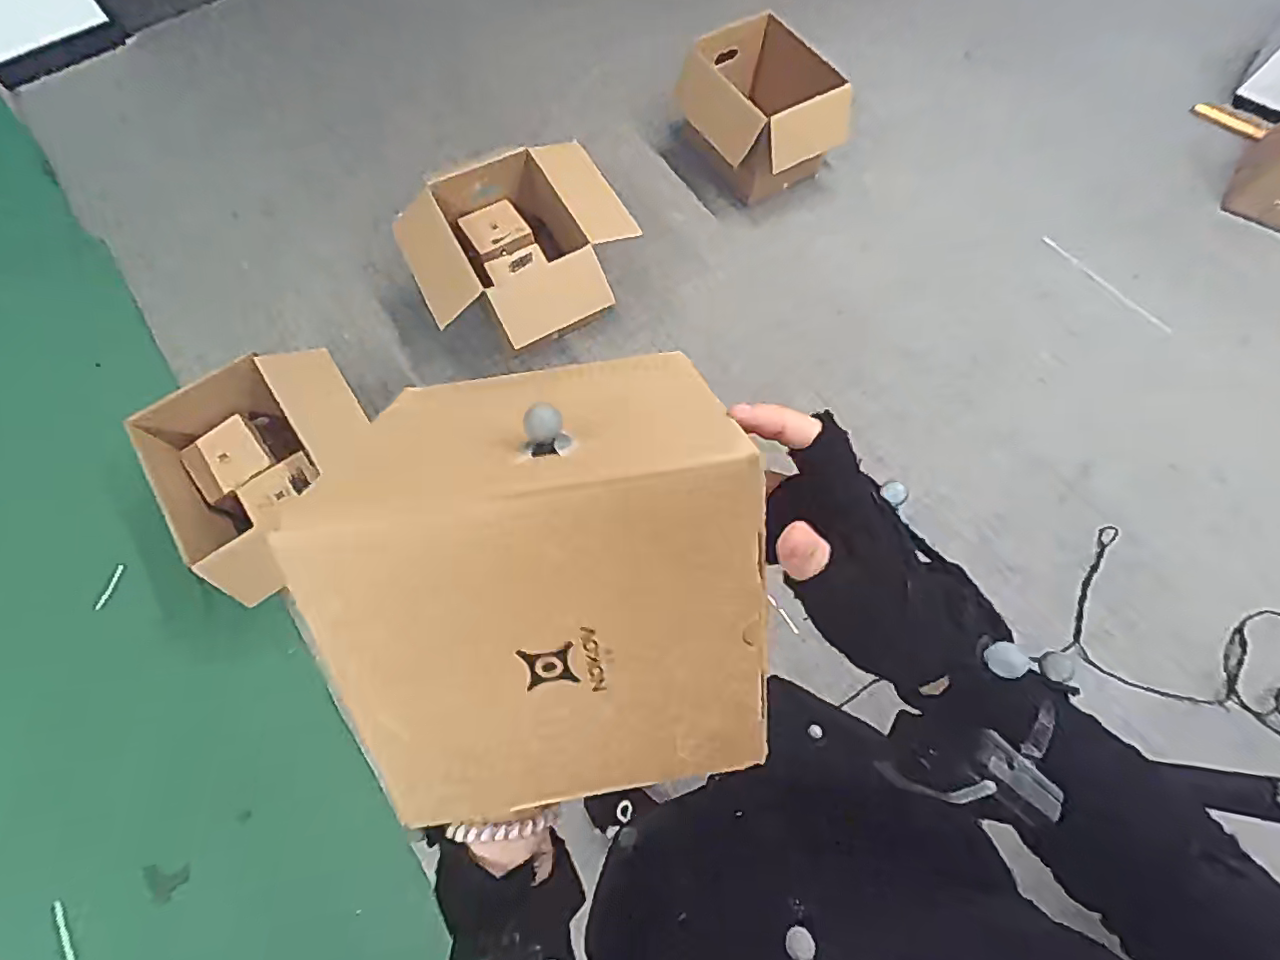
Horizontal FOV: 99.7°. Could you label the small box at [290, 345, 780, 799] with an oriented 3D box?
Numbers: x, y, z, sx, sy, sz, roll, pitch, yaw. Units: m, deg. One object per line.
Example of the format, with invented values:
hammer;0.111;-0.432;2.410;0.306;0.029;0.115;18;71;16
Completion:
small box;-0.035;0.031;0.296;0.179;0.168;0.176;-10;25;-1
